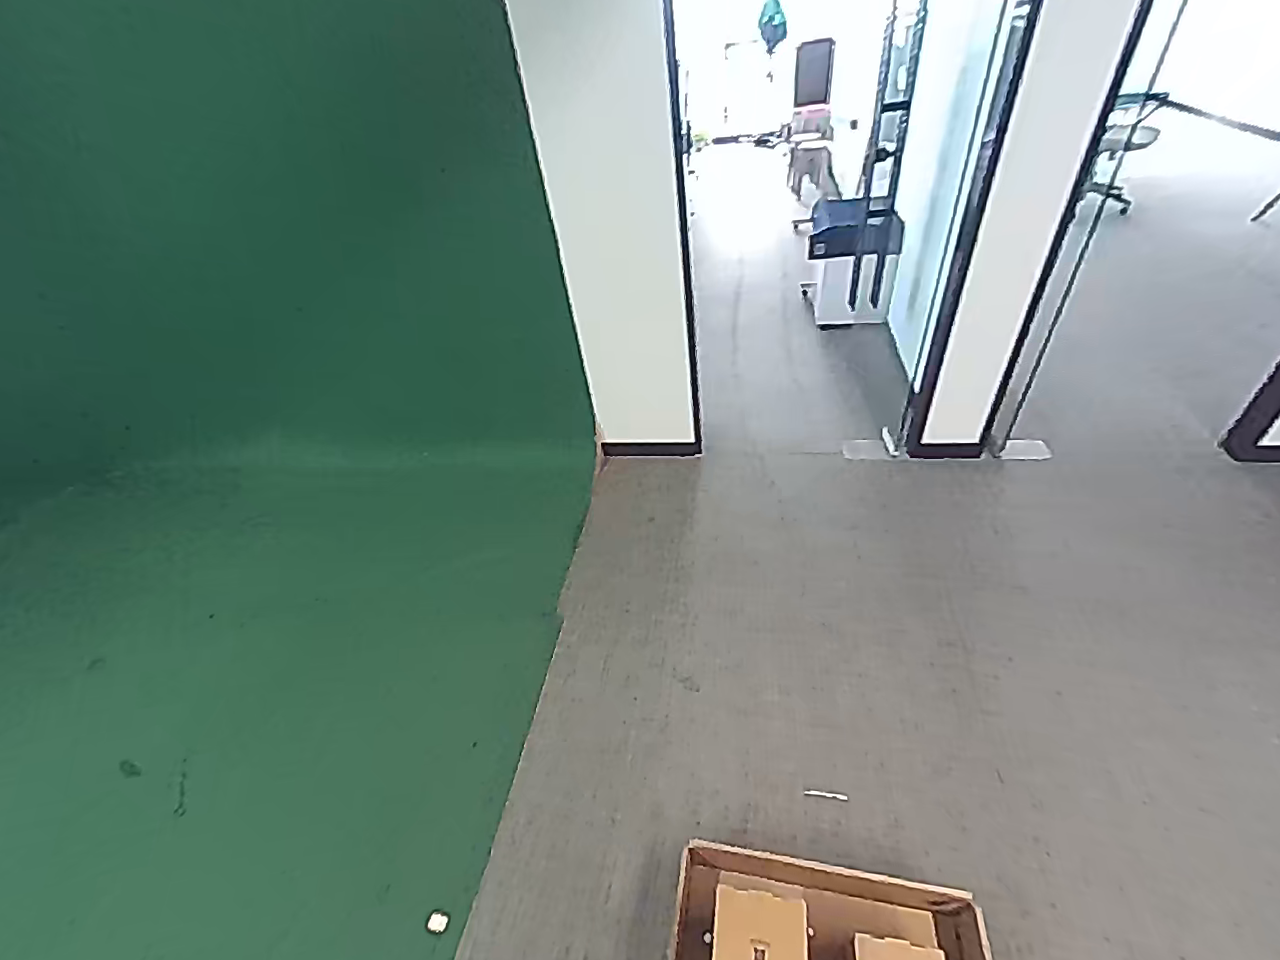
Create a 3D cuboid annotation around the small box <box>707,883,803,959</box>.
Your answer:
[{"bbox_3d":[0.212,0.885,0.999,0.168,0.176,0.179,2,42,12],"label":"small box"}]
